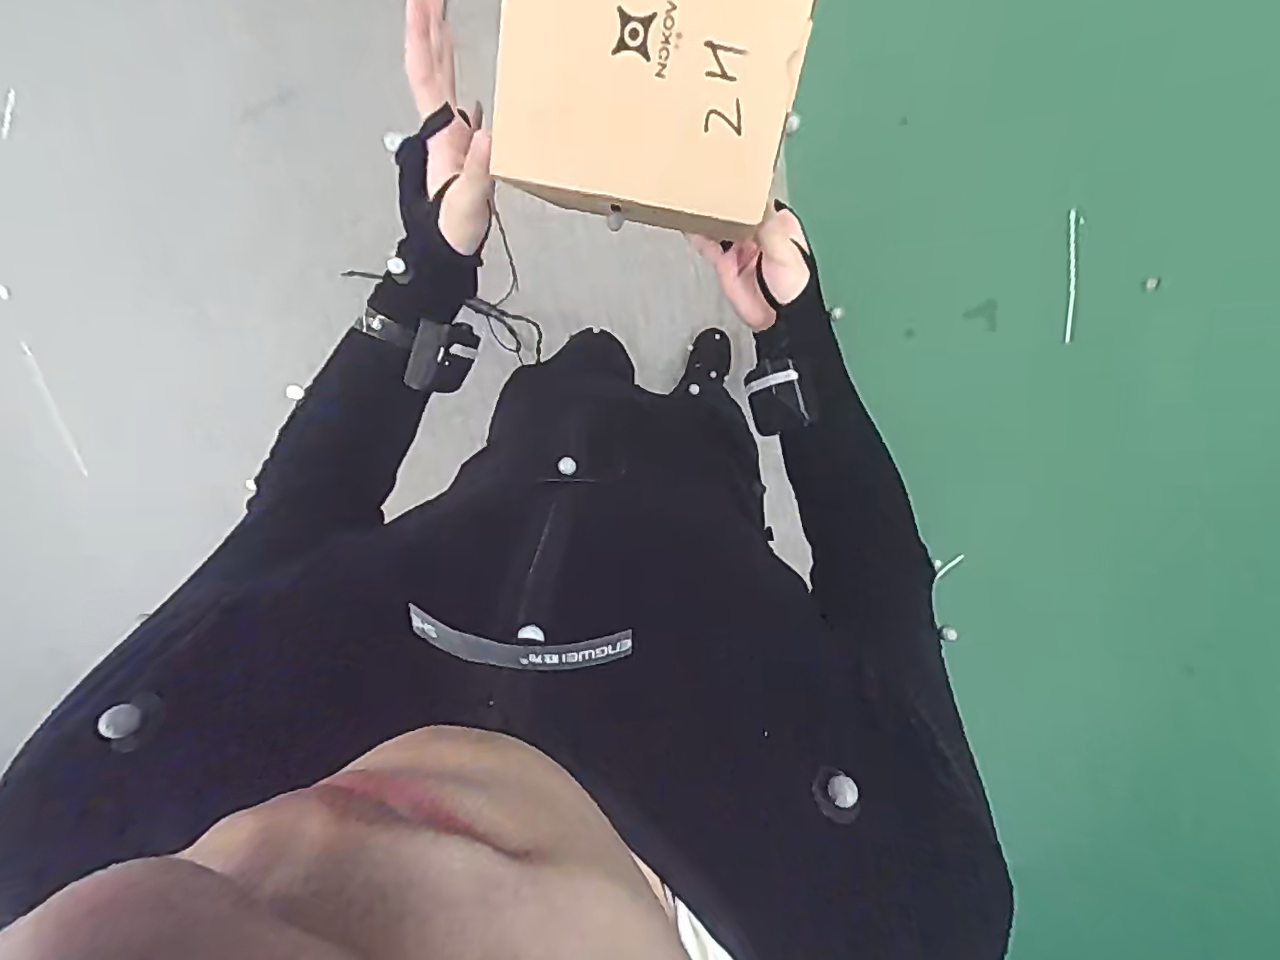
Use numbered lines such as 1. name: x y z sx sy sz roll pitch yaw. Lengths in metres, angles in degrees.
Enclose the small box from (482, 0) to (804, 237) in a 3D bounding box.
1. small box: 0.010 -0.276 0.383 0.179 0.176 0.168 13 112 4
